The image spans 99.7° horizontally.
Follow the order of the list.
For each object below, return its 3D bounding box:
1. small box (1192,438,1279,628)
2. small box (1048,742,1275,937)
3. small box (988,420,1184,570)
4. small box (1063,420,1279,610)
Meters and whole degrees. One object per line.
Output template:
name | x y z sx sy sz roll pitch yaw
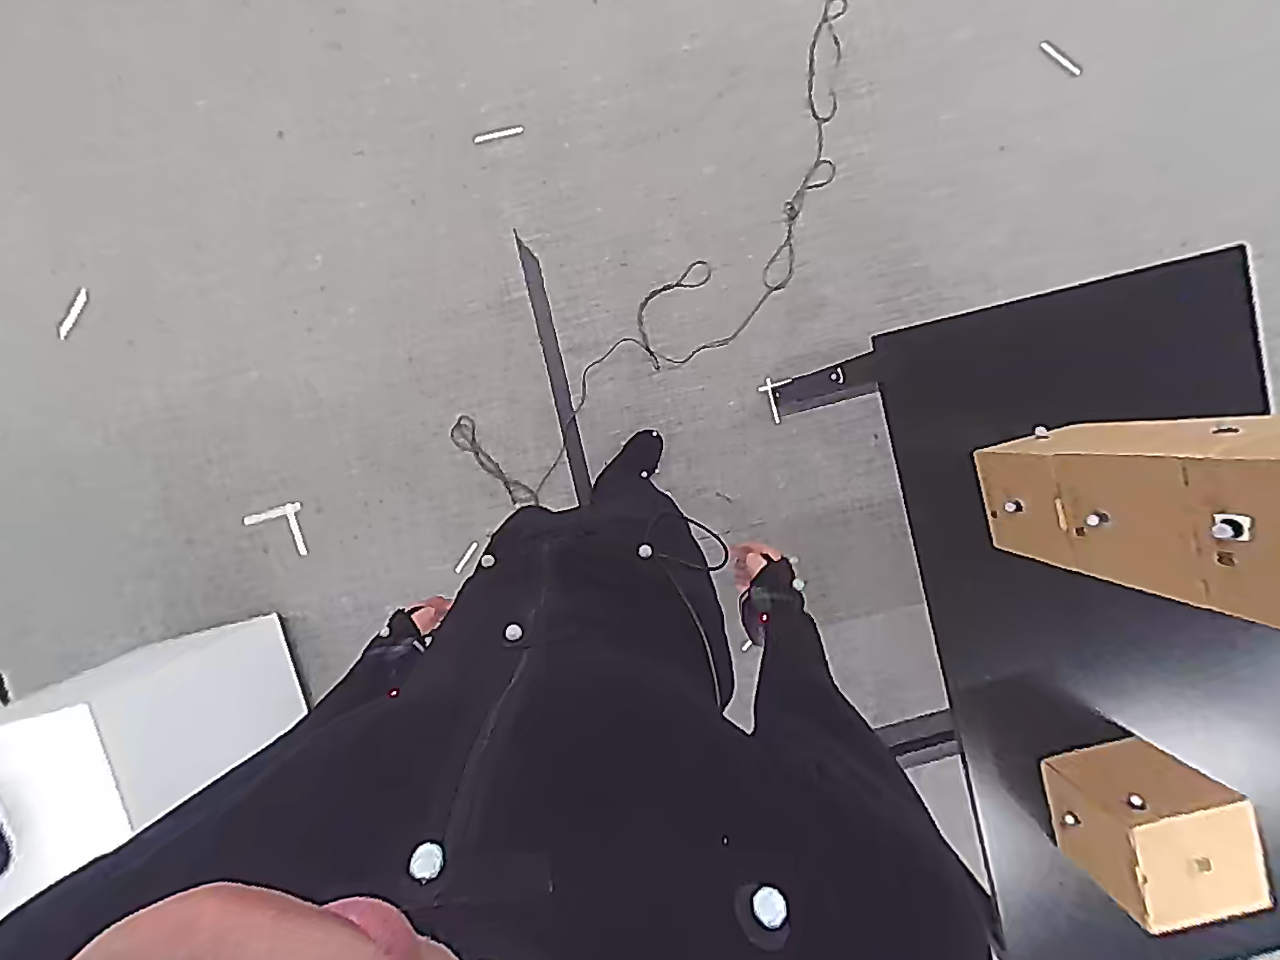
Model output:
small box | 0.651 0.040 0.463 0.179 0.176 0.168 -15 93 1
small box | 0.783 0.534 0.828 0.179 0.176 0.168 -14 94 1
small box | 0.645 0.016 0.790 0.179 0.176 0.168 -16 94 1
small box | 0.649 0.028 0.625 0.179 0.176 0.168 -15 94 0
